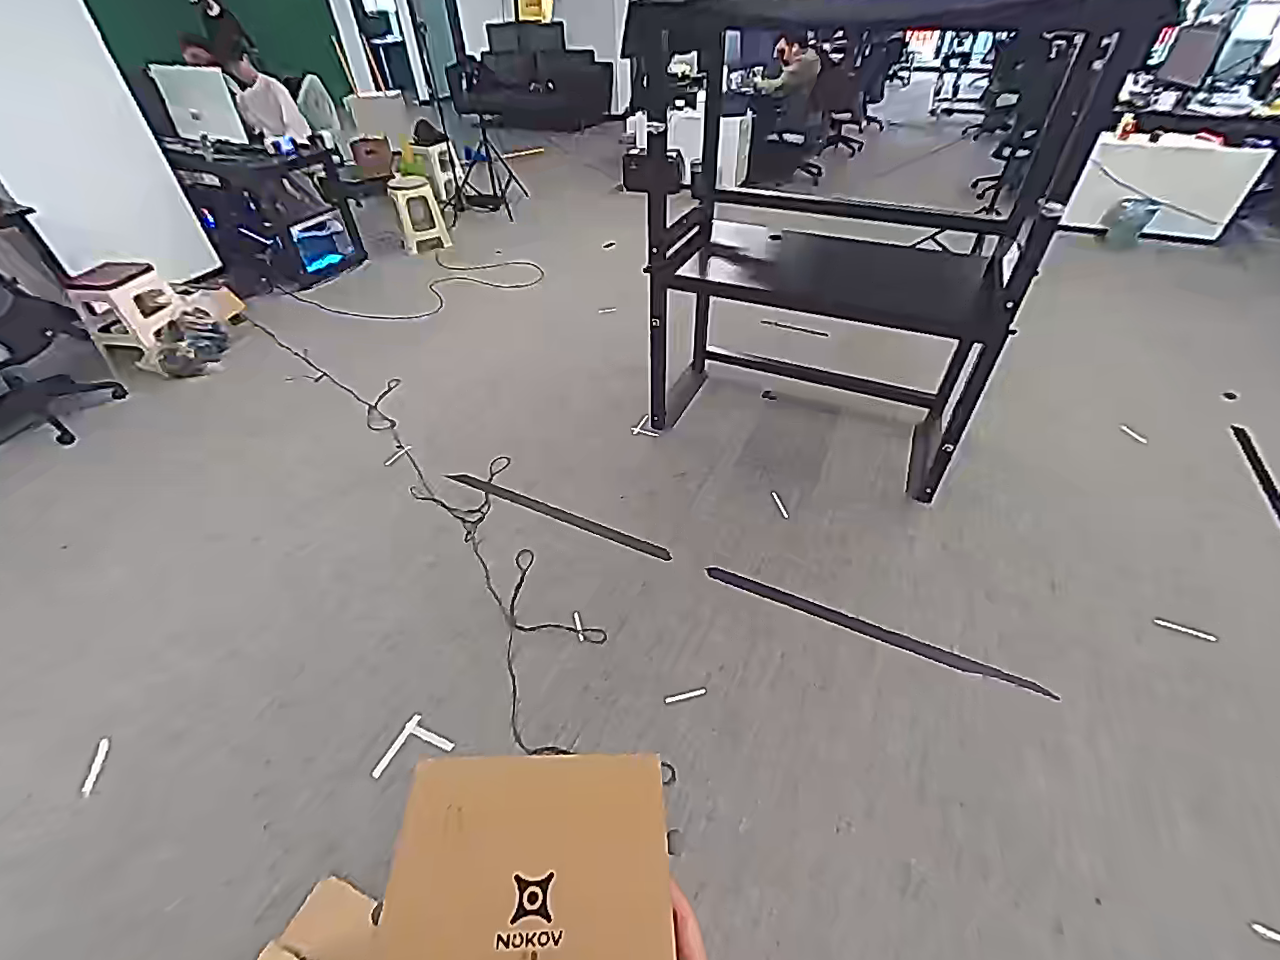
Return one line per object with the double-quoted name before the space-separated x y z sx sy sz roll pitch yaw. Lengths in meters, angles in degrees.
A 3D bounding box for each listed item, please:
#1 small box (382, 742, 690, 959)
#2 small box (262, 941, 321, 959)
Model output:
"small box" -0.062 0.297 0.359 0.168 0.176 0.179 2 44 -5
"small box" -0.648 1.008 1.001 0.168 0.176 0.179 13 45 15
